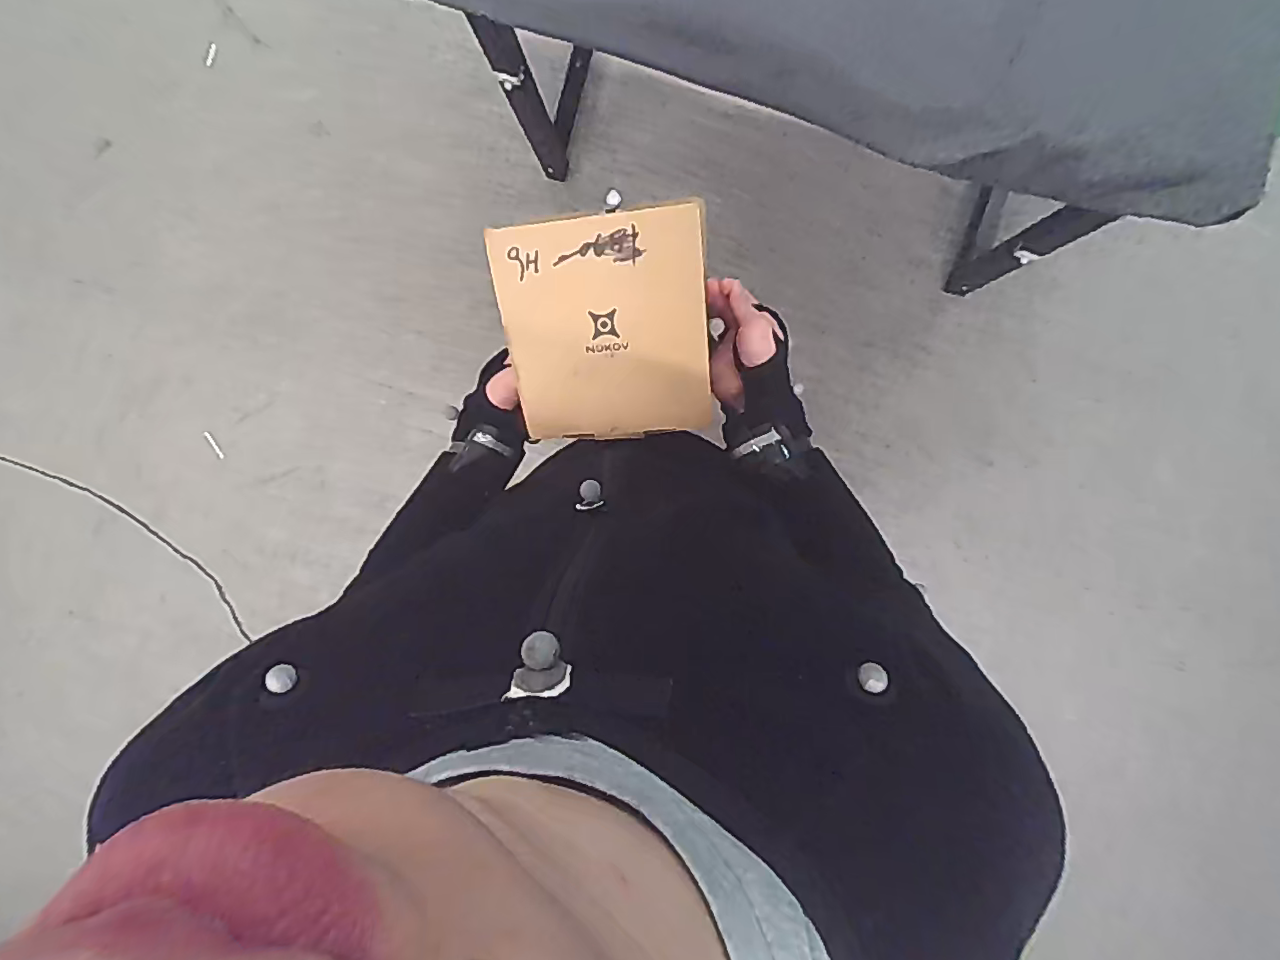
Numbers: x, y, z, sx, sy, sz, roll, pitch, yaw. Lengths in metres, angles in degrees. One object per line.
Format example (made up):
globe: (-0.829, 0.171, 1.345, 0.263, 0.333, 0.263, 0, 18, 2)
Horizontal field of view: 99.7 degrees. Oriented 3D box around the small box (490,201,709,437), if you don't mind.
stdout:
small box: (-0.020, -0.157, 0.517, 0.168, 0.176, 0.179, -3, 119, 8)
